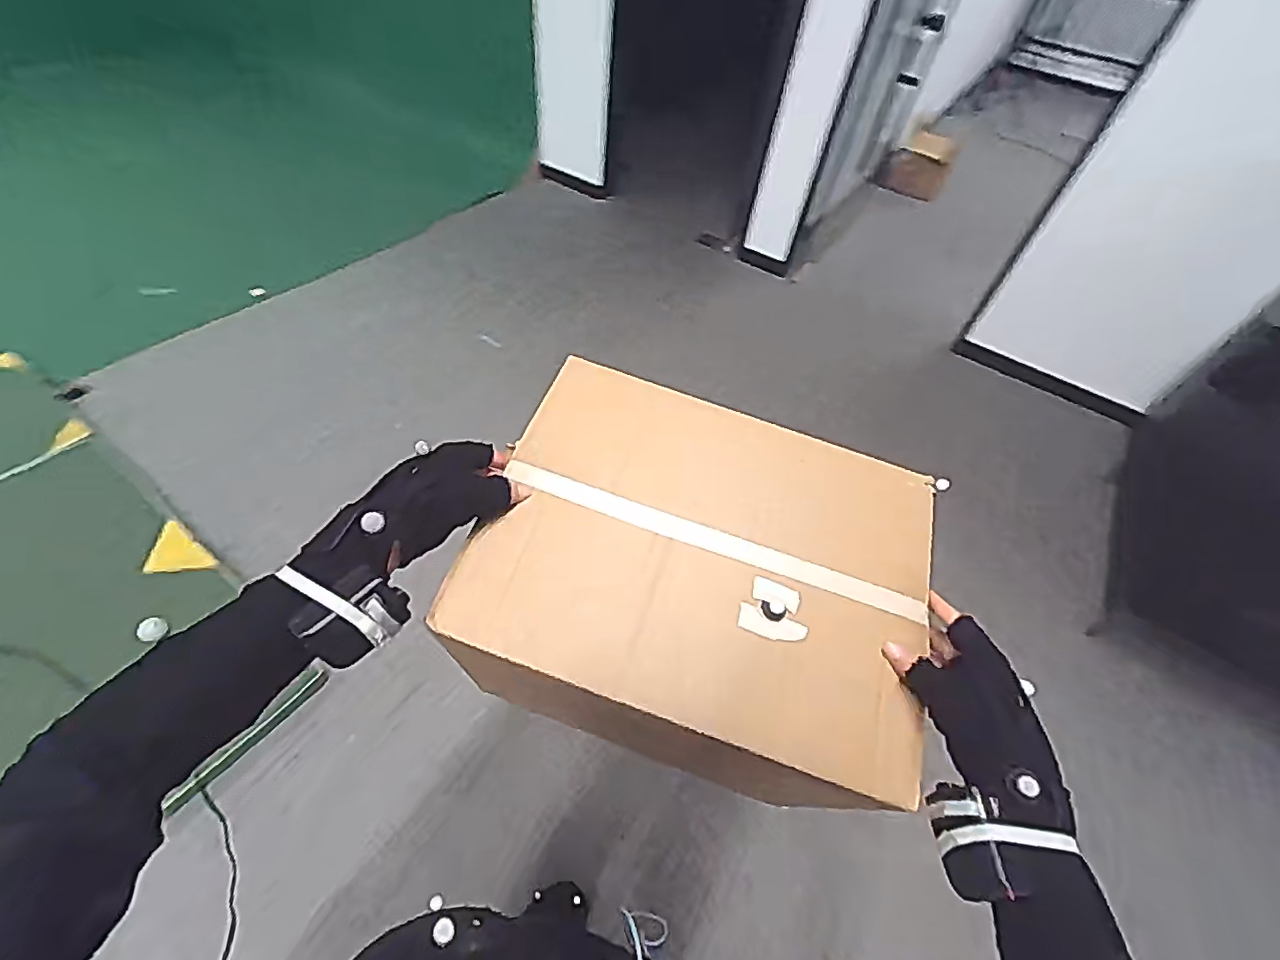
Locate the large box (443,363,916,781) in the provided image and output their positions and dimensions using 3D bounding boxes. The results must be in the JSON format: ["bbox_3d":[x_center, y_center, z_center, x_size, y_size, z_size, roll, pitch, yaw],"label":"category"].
[{"bbox_3d":[0.044,0.125,0.638,0.408,0.320,0.320,19,60,2],"label":"large box"}]
